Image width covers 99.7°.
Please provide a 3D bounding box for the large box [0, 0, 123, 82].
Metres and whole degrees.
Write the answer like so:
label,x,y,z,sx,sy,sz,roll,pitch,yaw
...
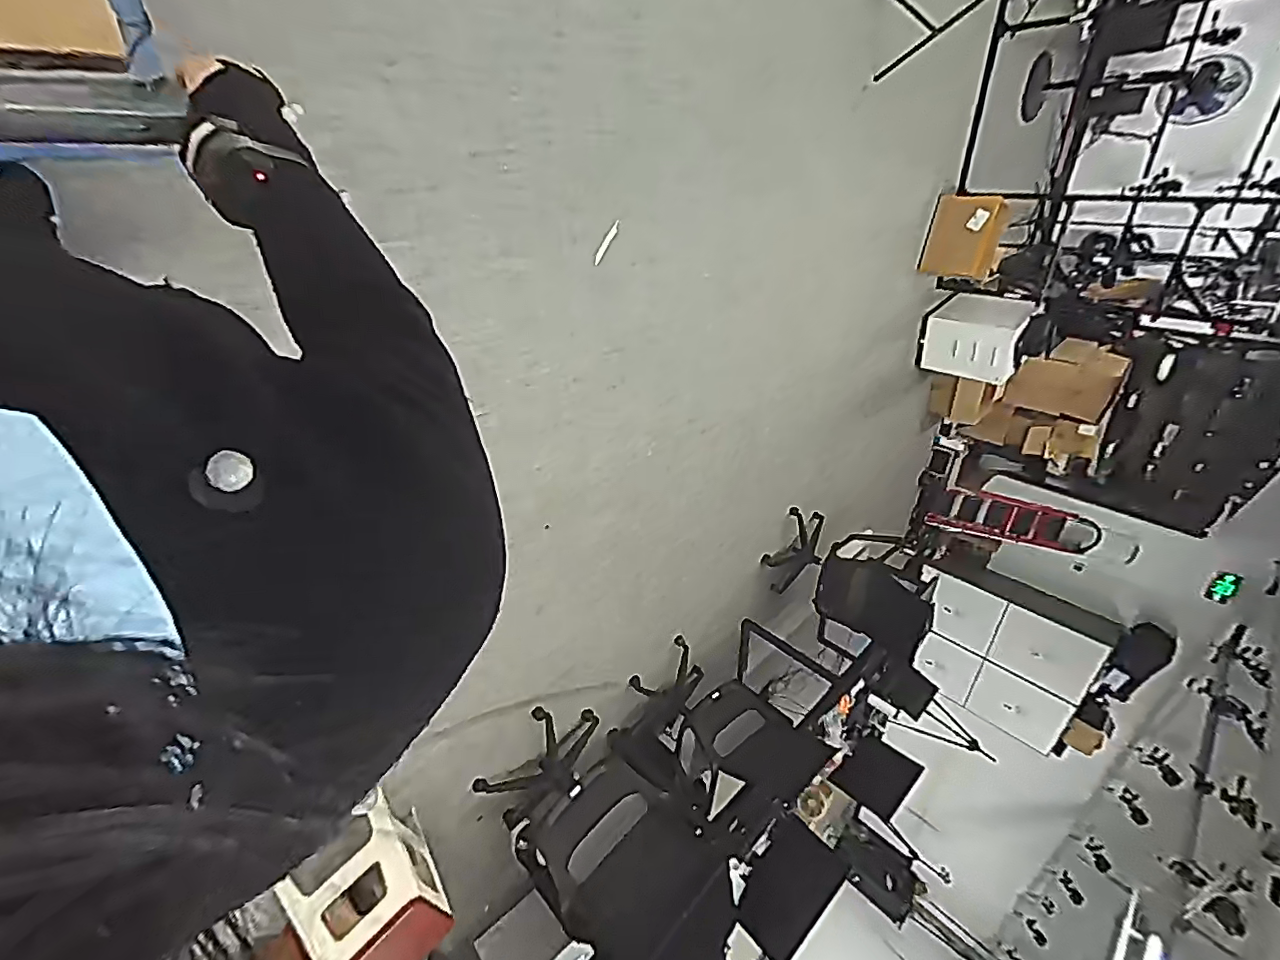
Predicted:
label,x,y,z,sx,sy,sz,roll,pitch,yaw
large box,-0.879,-0.629,0.560,0.408,0.320,0.320,-27,129,-37
